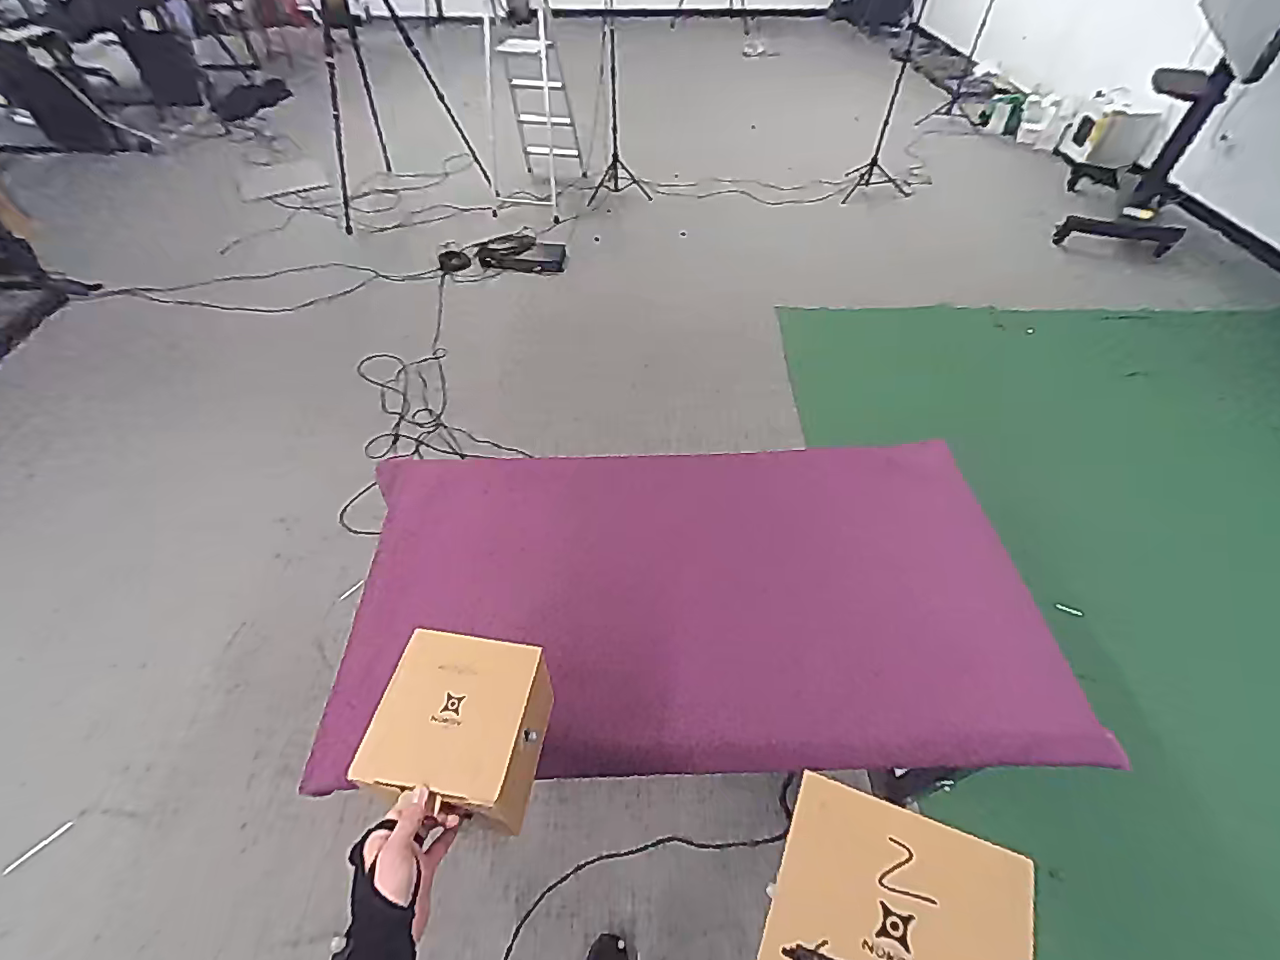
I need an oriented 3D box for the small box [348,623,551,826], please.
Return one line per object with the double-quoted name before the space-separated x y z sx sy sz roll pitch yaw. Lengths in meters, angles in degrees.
"small box" -0.217 0.309 0.677 0.168 0.176 0.179 8 47 6
